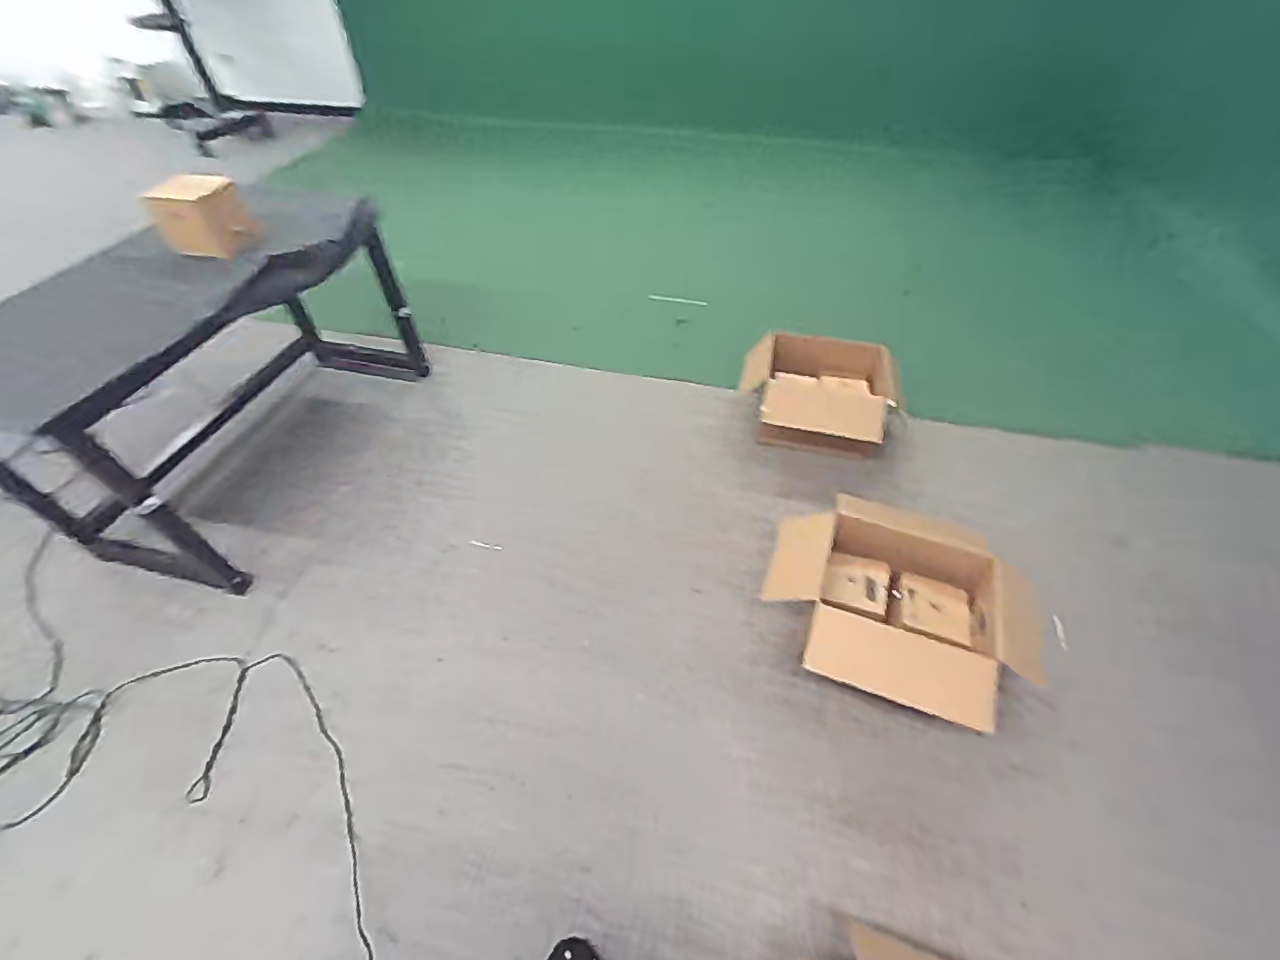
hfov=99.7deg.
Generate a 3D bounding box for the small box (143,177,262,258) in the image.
[{"bbox_3d":[-1.284,-0.776,1.602,0.179,0.176,0.168,9,49,8],"label":"small box"}]
